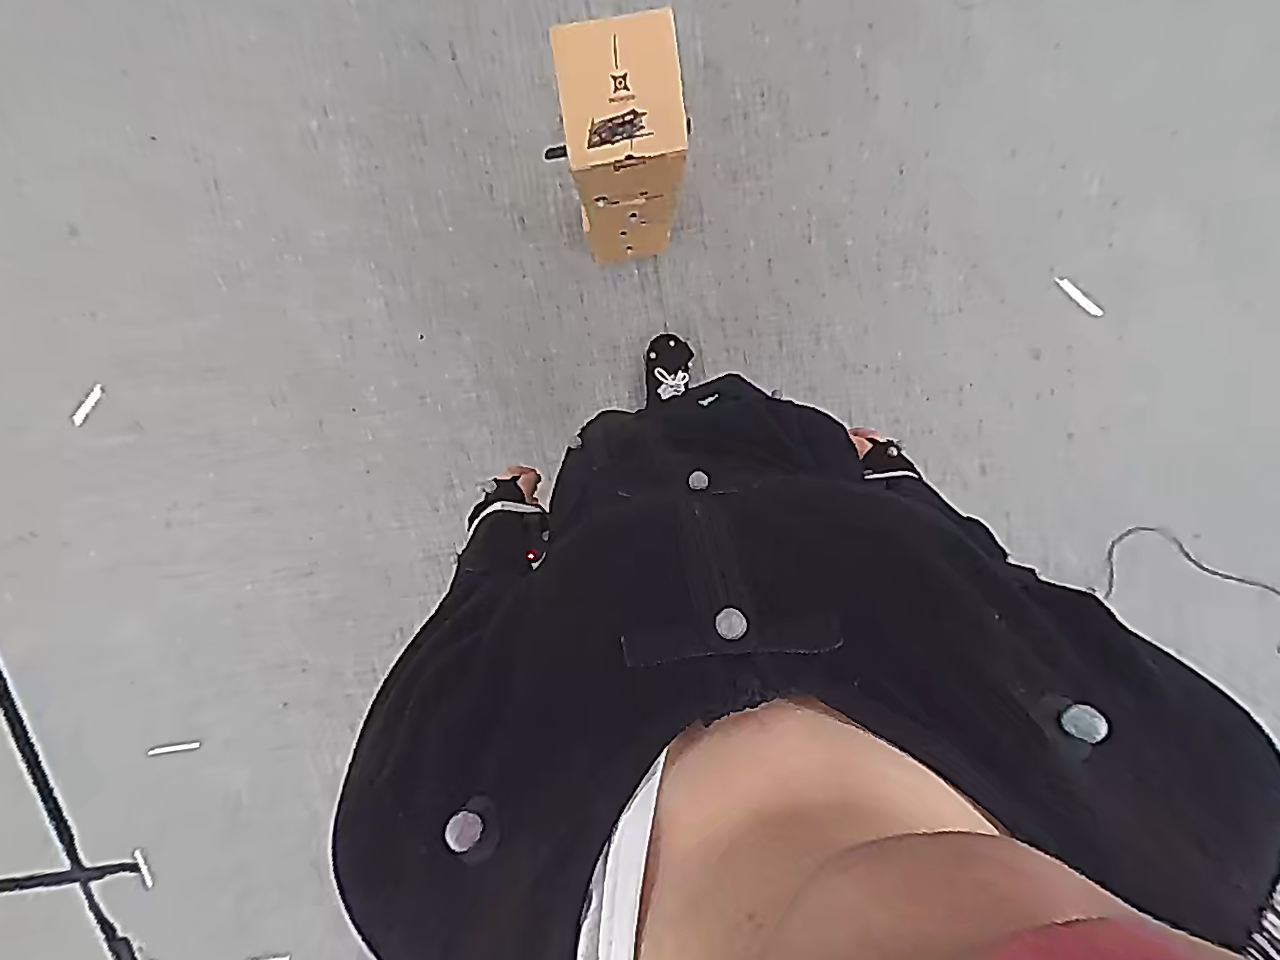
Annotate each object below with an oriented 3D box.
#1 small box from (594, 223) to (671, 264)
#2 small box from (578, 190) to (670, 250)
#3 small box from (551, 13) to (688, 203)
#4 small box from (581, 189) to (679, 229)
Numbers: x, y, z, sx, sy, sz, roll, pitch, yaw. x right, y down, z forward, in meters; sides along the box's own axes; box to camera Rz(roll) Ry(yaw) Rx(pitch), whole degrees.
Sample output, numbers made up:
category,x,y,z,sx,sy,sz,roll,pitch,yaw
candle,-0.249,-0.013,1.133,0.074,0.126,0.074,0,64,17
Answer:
category,x,y,z,sx,sy,sz,roll,pitch,yaw
small box,-0.030,-0.622,1.278,0.179,0.176,0.168,-9,102,1
small box,-0.034,-0.585,1.118,0.179,0.176,0.168,-6,102,1
small box,-0.024,-0.526,0.795,0.168,0.176,0.179,-8,101,1
small box,-0.023,-0.557,0.957,0.168,0.176,0.179,-7,102,1
